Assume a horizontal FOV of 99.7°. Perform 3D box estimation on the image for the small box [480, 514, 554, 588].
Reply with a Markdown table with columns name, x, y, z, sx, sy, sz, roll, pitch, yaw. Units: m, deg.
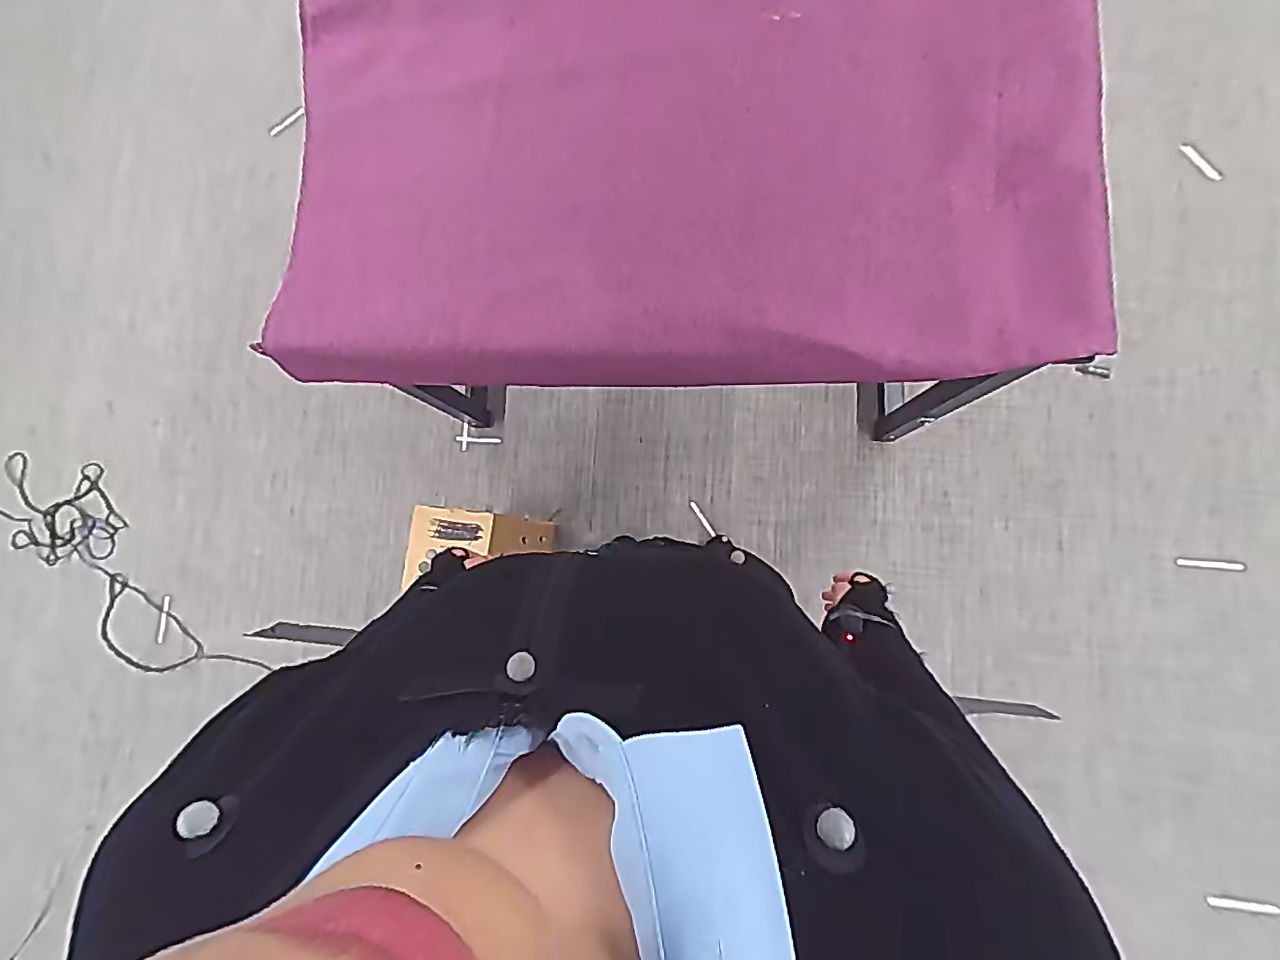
| name | x | y | z | sx | sy | sz | roll | pitch | yaw |
| --- | --- | --- | --- | --- | --- | --- | --- | --- | --- |
| small box | -0.341 | 0.194 | 1.455 | 0.168 | 0.176 | 0.179 | 9 | 85 | 6 |

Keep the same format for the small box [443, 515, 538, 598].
| name | x | y | z | sx | sy | sz | roll | pitch | yaw |
| --- | --- | --- | --- | --- | --- | --- | --- | --- | --- |
| small box | -0.348 | 0.180 | 1.290 | 0.168 | 0.176 | 0.179 | 4 | 84 | 6 |
